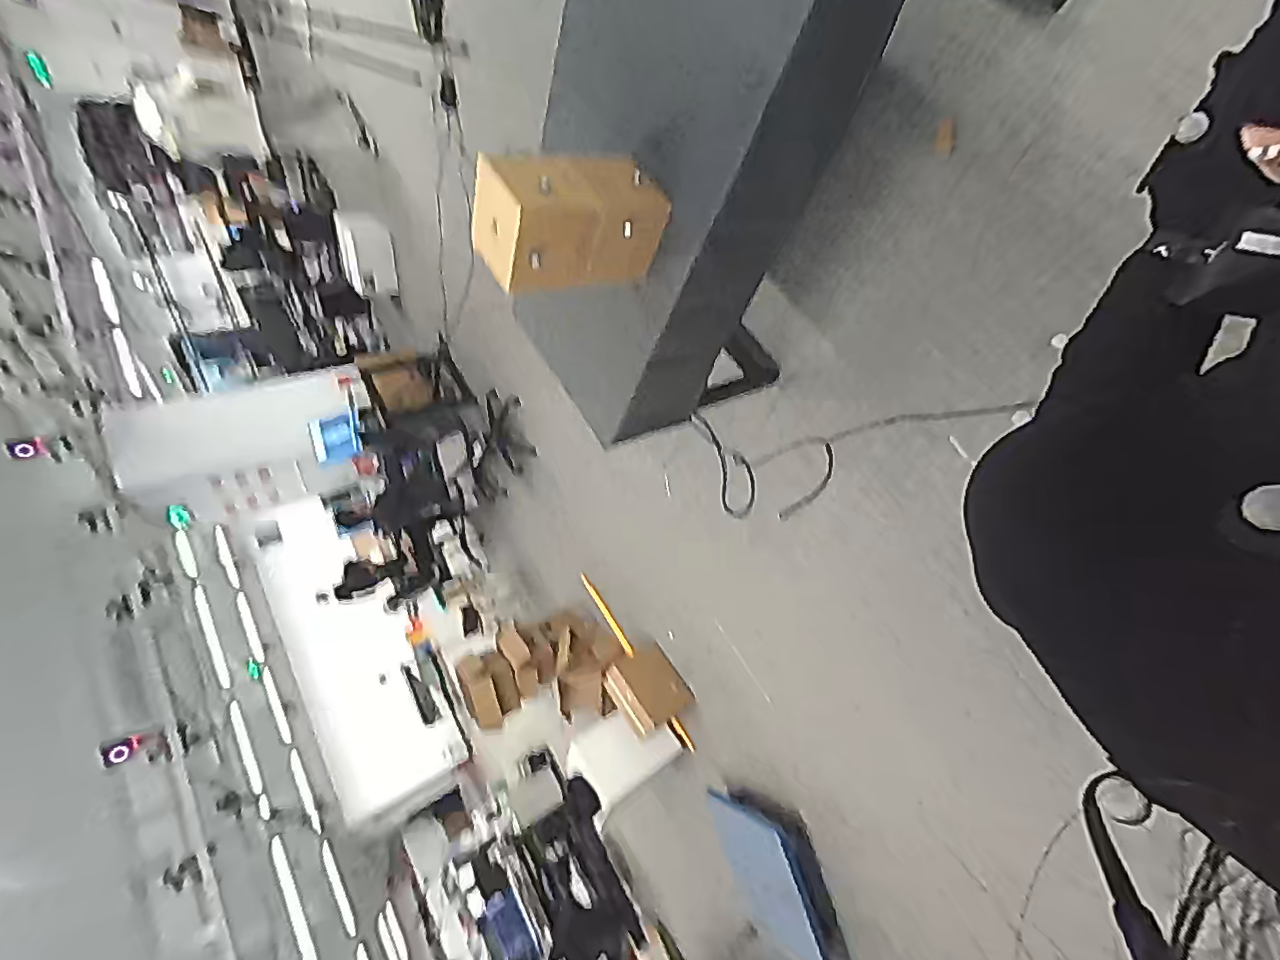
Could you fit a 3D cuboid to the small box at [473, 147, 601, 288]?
[{"bbox_3d":[-0.194,-0.495,1.020,0.168,0.176,0.179,56,145,20],"label":"small box"}]
